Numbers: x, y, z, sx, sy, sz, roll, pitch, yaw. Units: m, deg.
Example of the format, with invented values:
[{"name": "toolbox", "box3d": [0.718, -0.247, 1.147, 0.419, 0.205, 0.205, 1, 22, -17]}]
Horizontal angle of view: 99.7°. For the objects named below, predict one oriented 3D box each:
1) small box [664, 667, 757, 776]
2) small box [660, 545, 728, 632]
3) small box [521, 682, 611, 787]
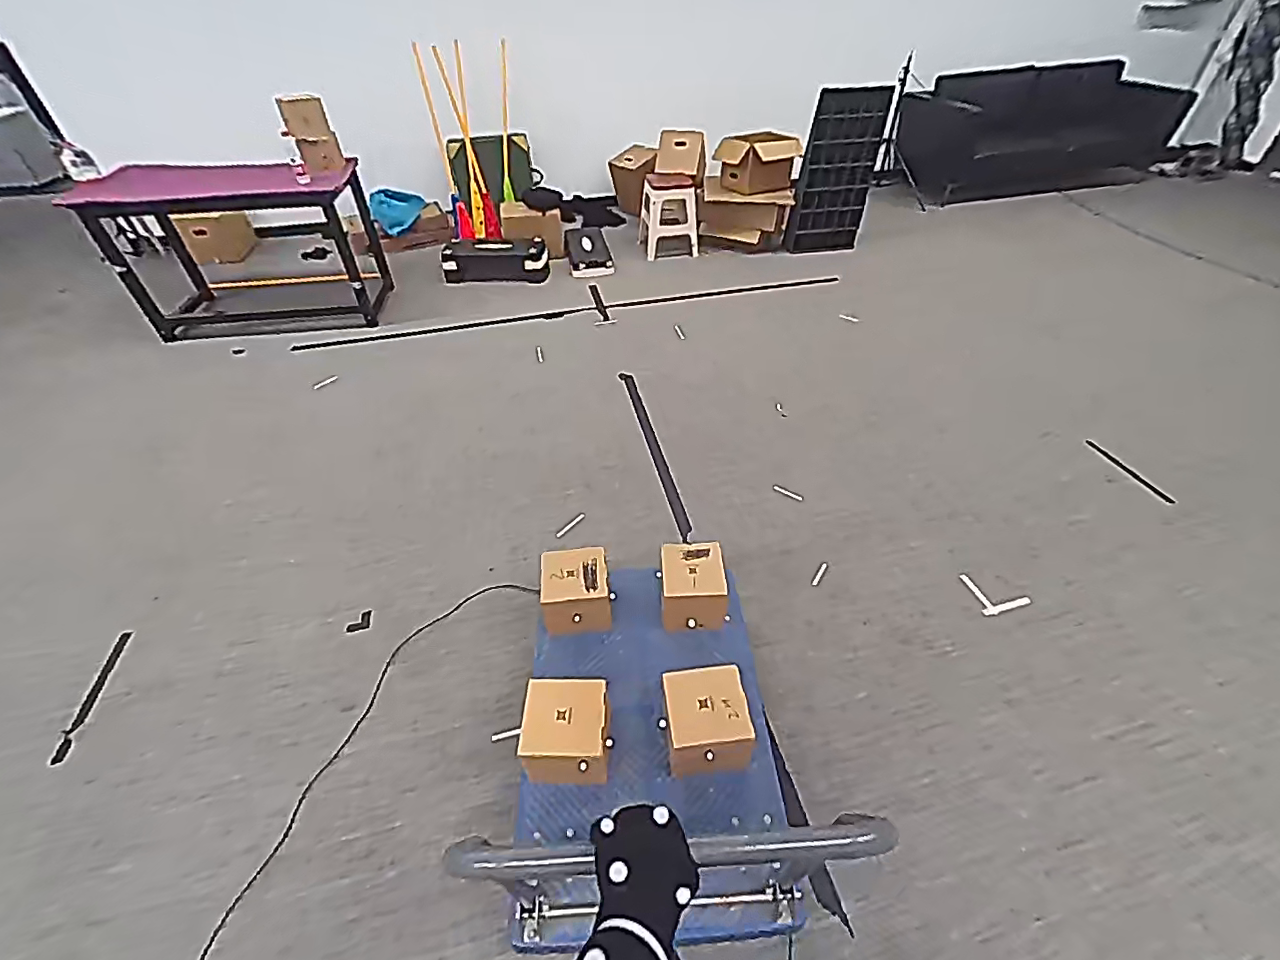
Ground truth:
[{"name": "small box", "box3d": [0.152, 0.549, 1.224, 0.179, 0.176, 0.168, -5, 43, -4]}, {"name": "small box", "box3d": [0.143, 0.299, 1.493, 0.168, 0.176, 0.179, -2, 44, -1]}, {"name": "small box", "box3d": [-0.157, 0.571, 1.208, 0.179, 0.176, 0.168, 0, 42, -1]}]
